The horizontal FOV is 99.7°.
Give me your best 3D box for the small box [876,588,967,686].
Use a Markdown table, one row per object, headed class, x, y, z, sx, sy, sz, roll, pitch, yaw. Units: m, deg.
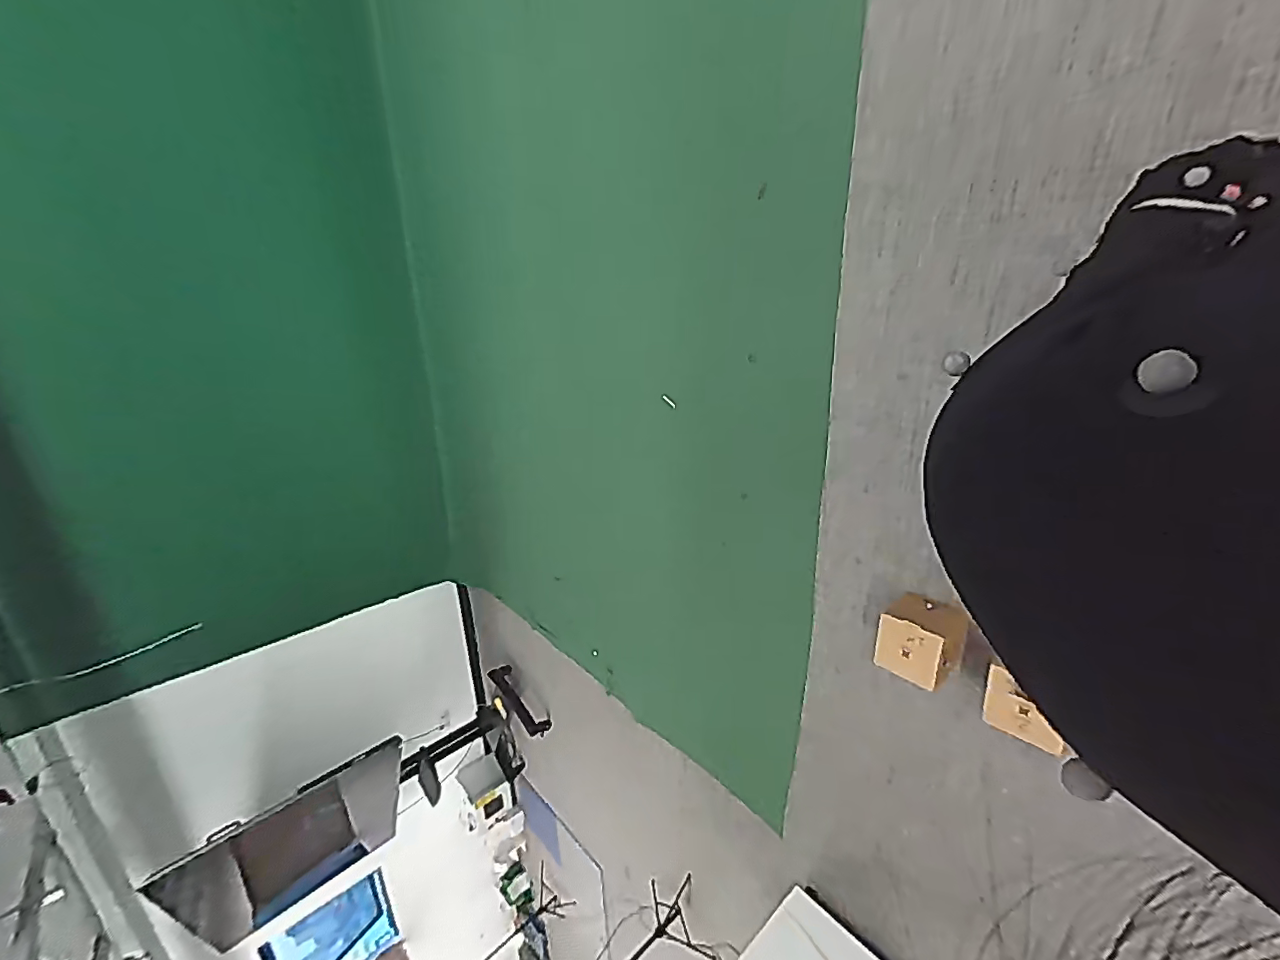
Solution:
| class | x | y | z | sx | sy | sz | roll | pitch | yaw |
| --- | --- | --- | --- | --- | --- | --- | --- | --- | --- |
| small box | 0.792 | 0.433 | 1.520 | 0.168 | 0.176 | 0.179 | 21 | 118 | 44 |
